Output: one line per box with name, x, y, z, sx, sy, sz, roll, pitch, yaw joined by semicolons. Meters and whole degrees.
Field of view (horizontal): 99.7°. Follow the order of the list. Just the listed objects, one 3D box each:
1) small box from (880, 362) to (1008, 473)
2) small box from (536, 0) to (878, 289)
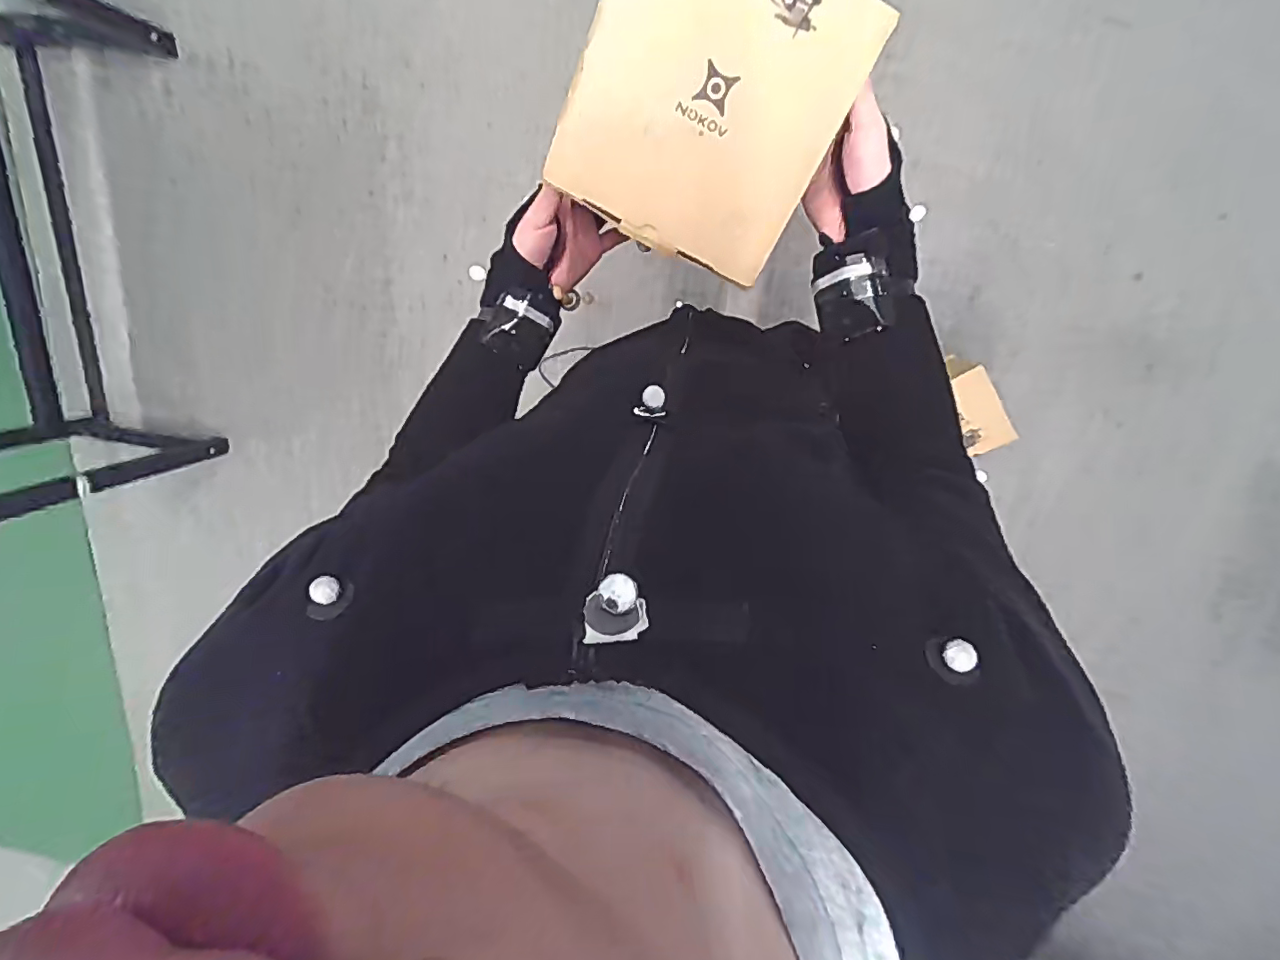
small box;0.661;-0.144;1.194;0.168;0.176;0.179;-28;99;17
small box;0.040;-0.277;0.418;0.168;0.176;0.179;23;116;-10
